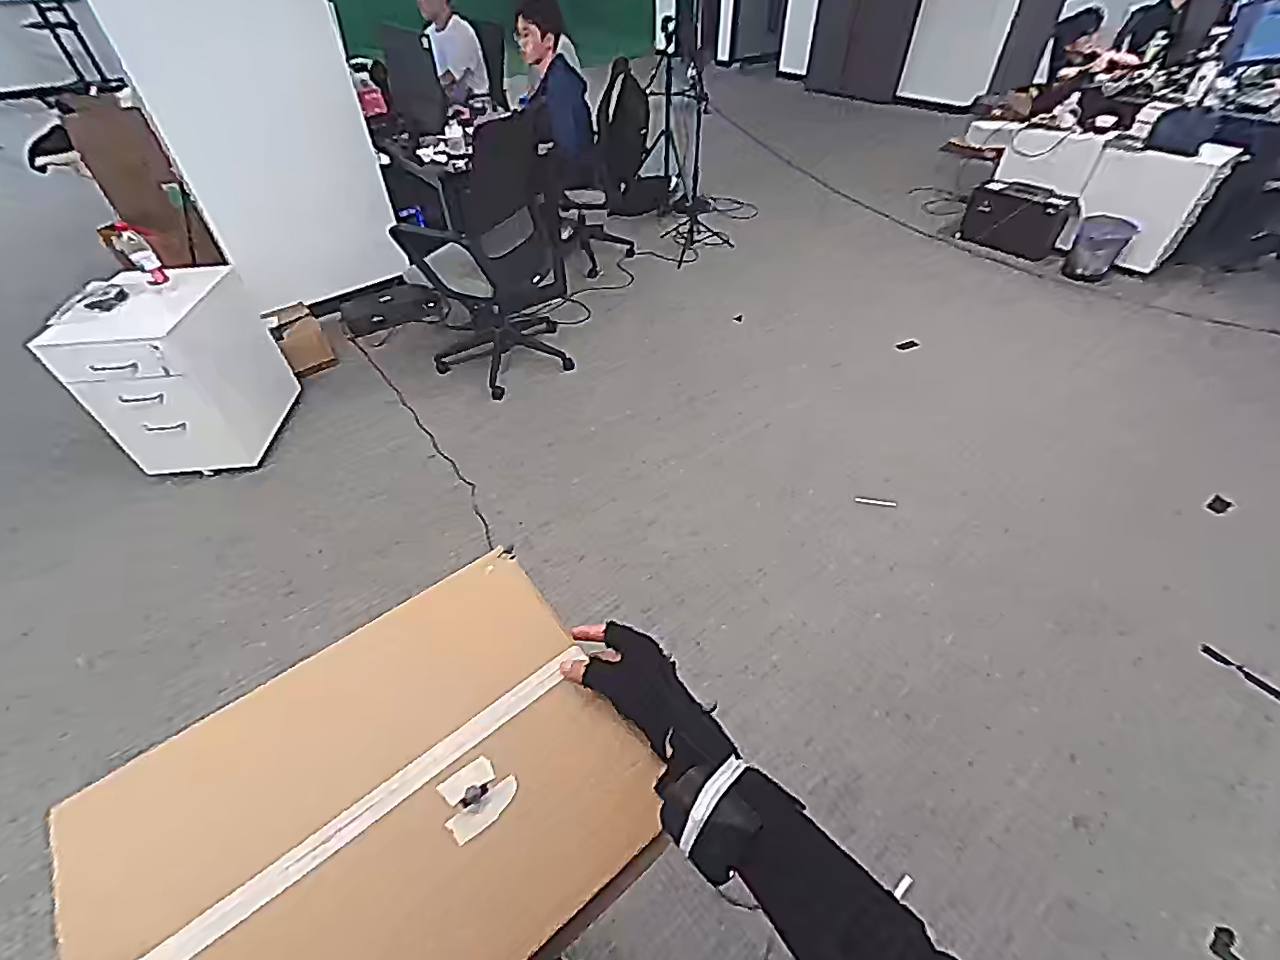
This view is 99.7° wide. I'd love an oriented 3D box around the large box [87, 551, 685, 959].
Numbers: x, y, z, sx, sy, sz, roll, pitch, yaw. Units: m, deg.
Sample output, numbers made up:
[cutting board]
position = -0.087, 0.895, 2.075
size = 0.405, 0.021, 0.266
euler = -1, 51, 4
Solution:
[large box]
position = -0.212, 0.359, 0.565
size = 0.408, 0.320, 0.320
euler = -30, 58, -25
